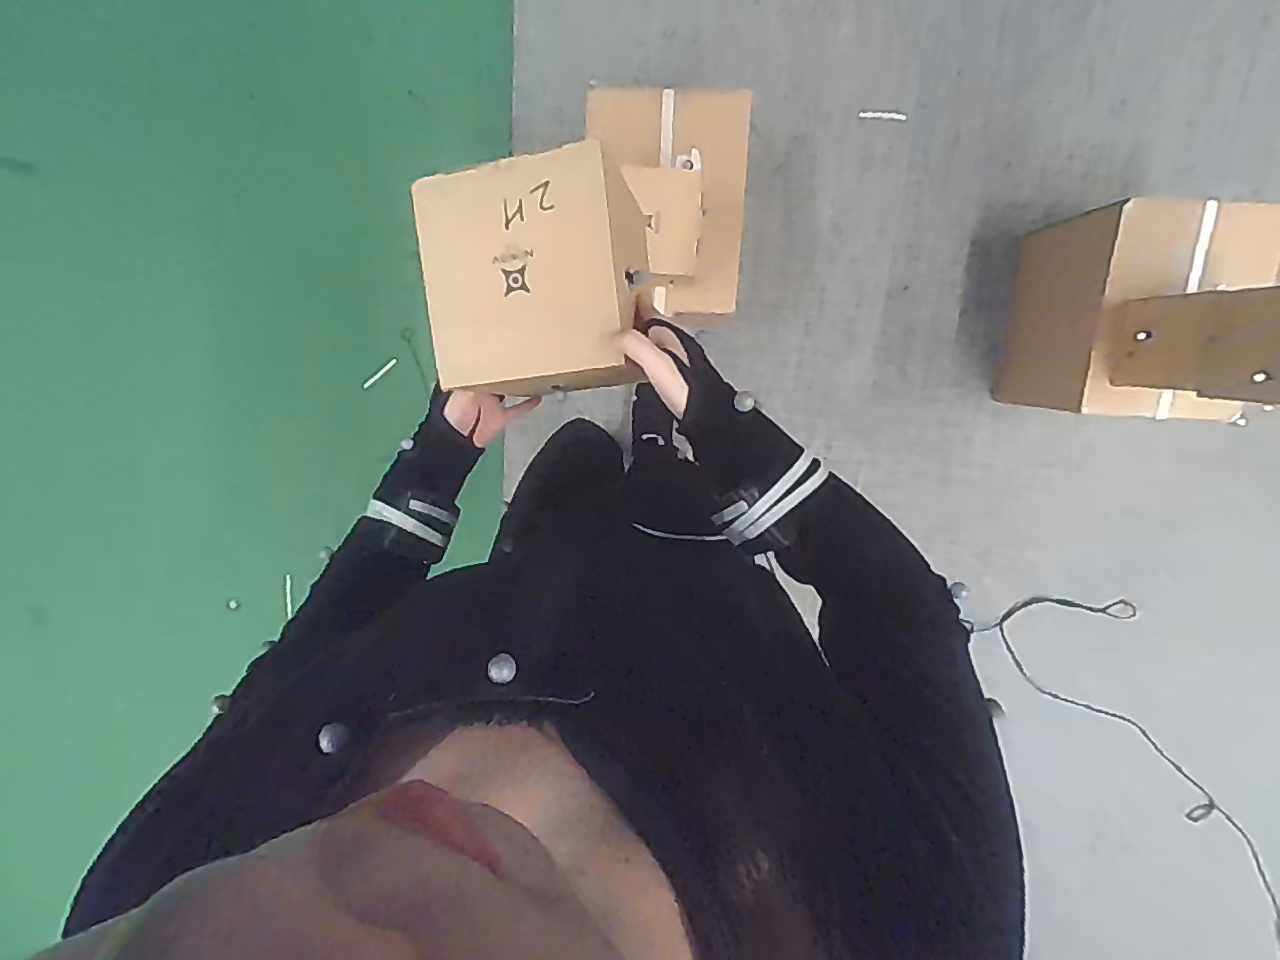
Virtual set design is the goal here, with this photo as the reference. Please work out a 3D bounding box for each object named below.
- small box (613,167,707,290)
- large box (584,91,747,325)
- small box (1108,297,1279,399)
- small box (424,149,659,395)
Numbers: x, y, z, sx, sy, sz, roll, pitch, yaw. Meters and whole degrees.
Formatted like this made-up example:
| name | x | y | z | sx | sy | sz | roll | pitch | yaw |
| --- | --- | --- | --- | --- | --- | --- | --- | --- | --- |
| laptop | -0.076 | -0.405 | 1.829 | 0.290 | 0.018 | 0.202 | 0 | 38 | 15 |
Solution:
| name | x | y | z | sx | sy | sz | roll | pitch | yaw |
| --- | --- | --- | --- | --- | --- | --- | --- | --- | --- |
| small box | 0.022 | -0.443 | 0.977 | 0.179 | 0.176 | 0.168 | 6 | 102 | 3 |
| large box | 0.050 | -0.564 | 1.201 | 0.320 | 0.320 | 0.408 | 3 | 102 | 2 |
| small box | 1.023 | -0.240 | 0.987 | 0.179 | 0.176 | 0.168 | 2 | 103 | 3 |
| small box | -0.079 | -0.177 | 0.524 | 0.168 | 0.176 | 0.179 | -5 | 95 | 11 |
